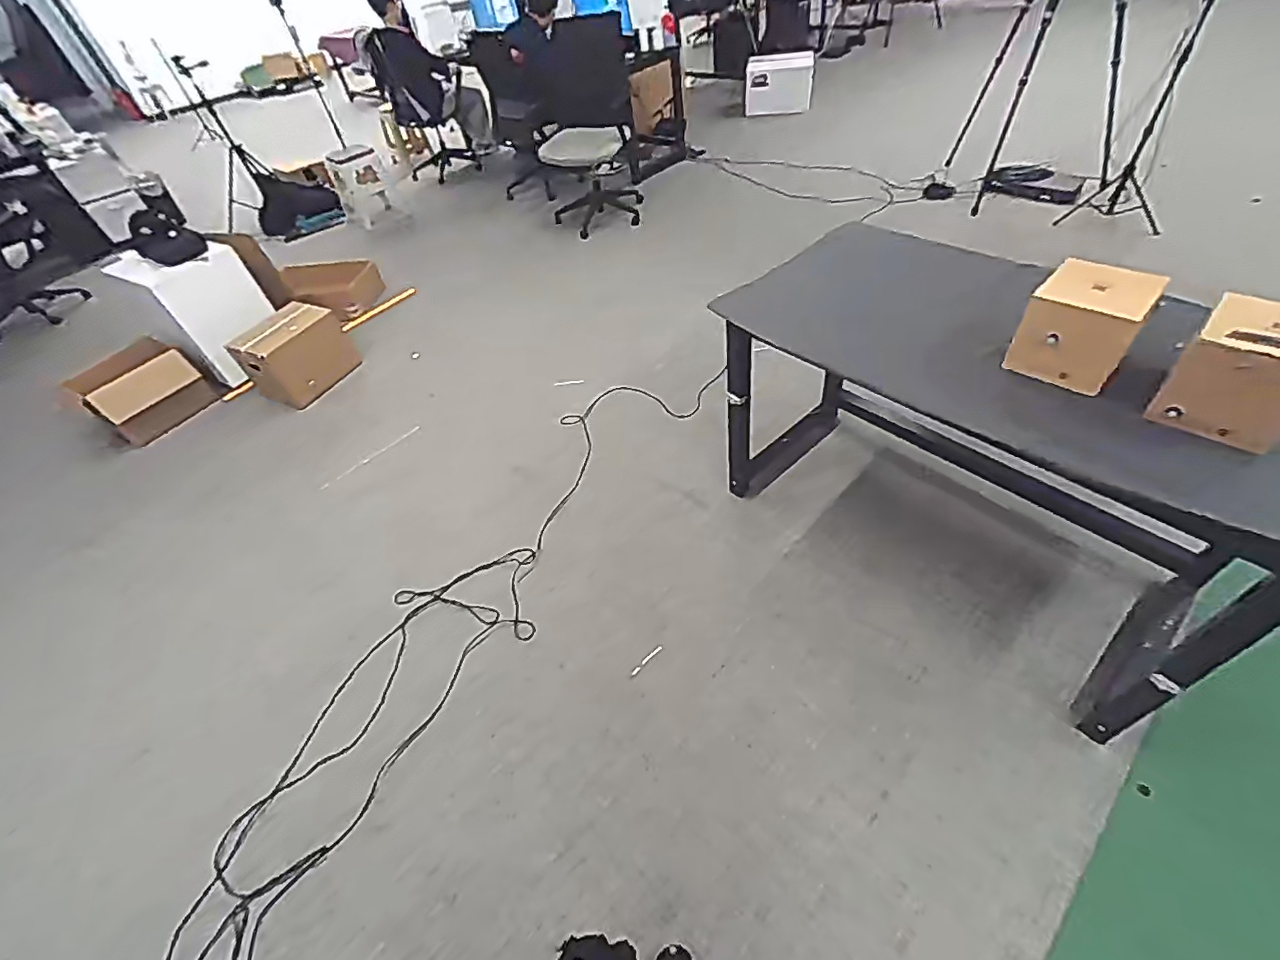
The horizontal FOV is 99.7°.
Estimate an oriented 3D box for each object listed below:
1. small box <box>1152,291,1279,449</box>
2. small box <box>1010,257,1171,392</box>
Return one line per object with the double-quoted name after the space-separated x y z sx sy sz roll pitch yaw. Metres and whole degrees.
1.007 -0.181 0.896 0.179 0.176 0.168 -39 53 -25 "small box"
0.847 -0.295 1.034 0.179 0.176 0.168 -39 52 -25 "small box"
